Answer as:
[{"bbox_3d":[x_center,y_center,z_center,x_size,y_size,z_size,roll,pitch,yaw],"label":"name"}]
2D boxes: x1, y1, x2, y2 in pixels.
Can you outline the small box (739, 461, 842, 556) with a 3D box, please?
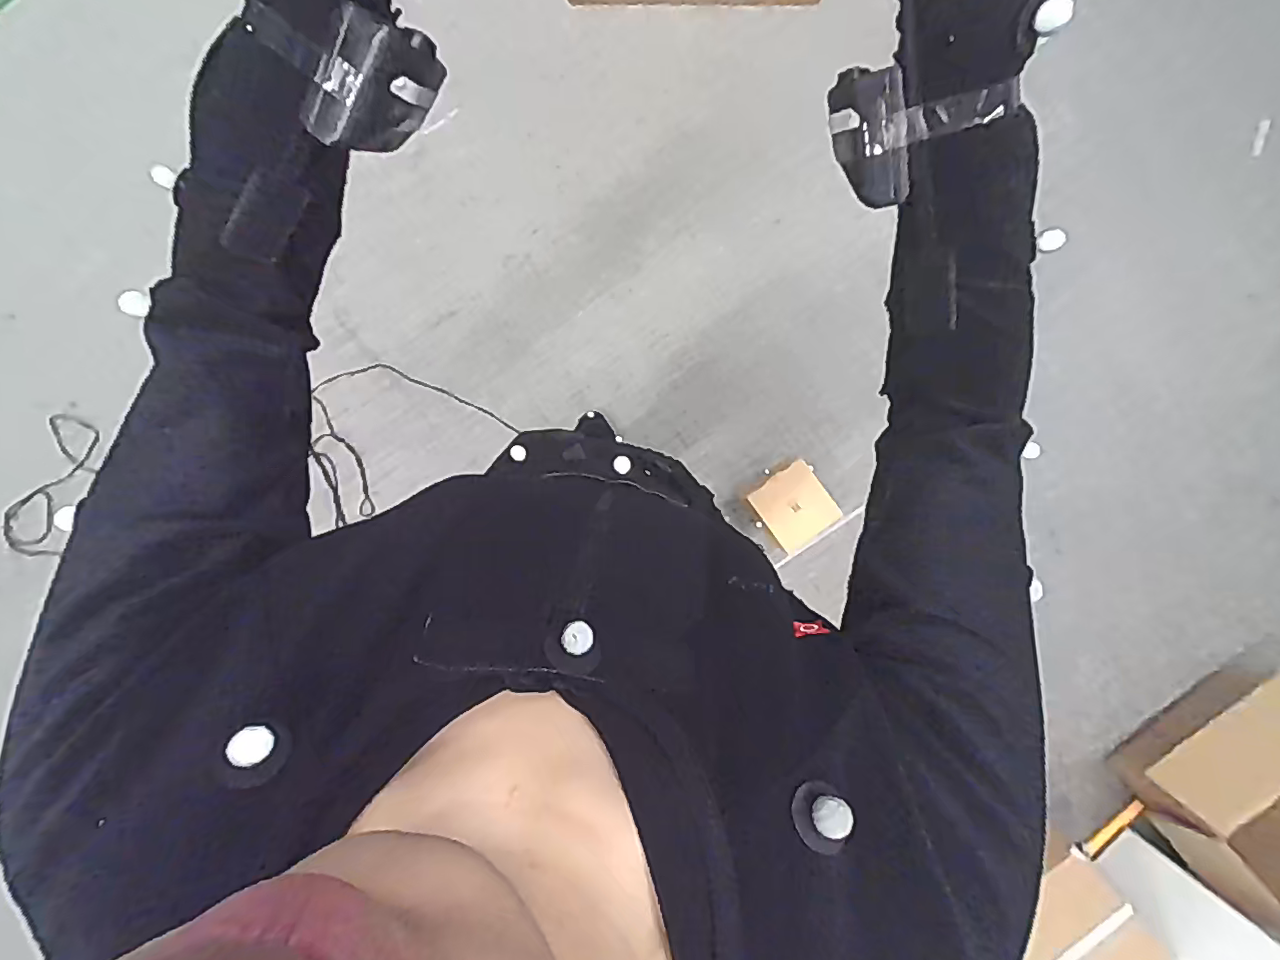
[{"bbox_3d":[0.374,0.067,1.371,0.168,0.176,0.179,-36,89,2],"label":"small box"}]
